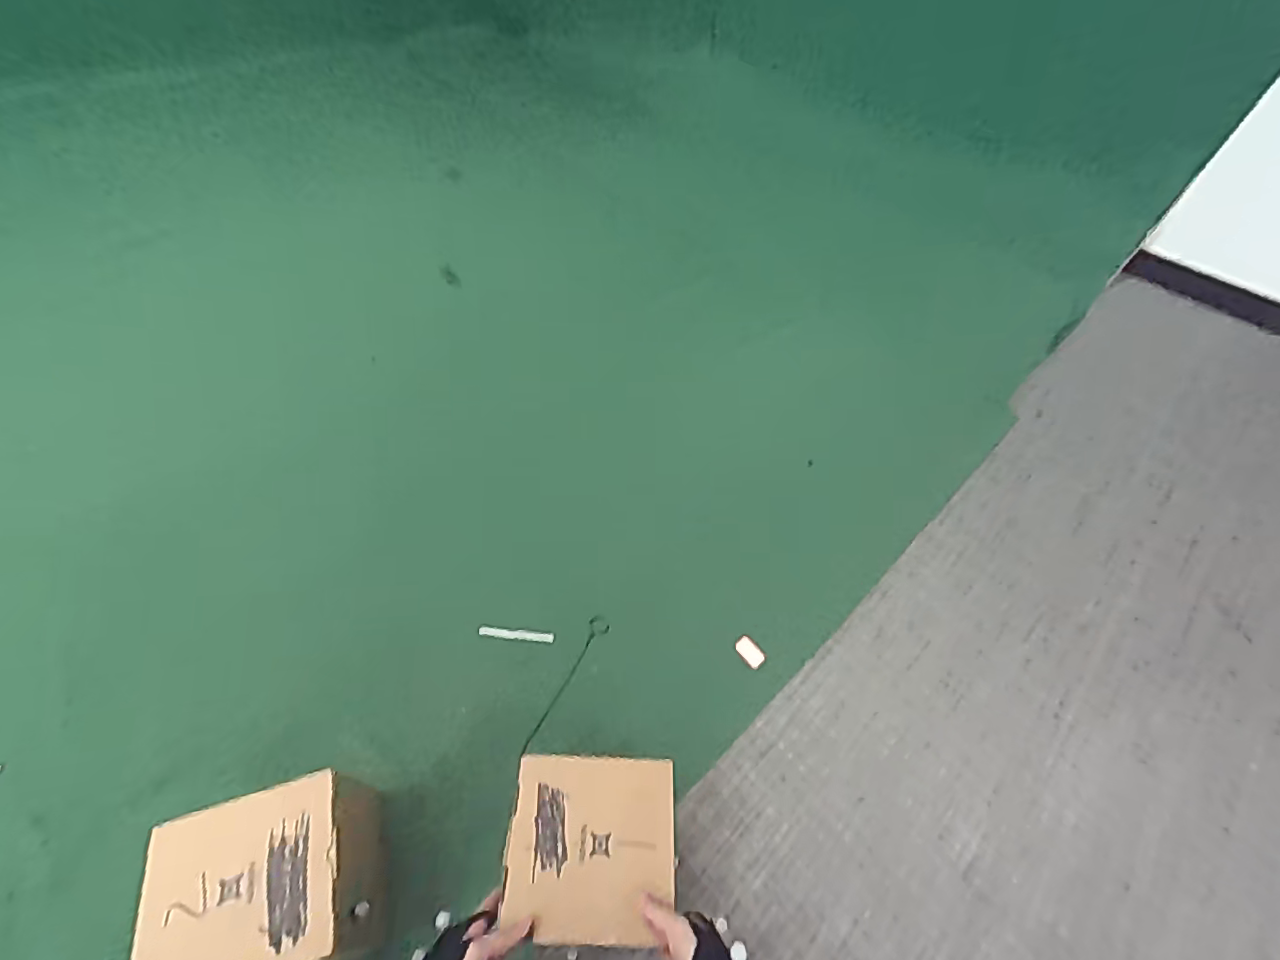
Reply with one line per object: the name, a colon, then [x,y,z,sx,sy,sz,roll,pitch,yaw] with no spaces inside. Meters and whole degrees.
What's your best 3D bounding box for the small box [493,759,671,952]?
small box: [-0.058,0.438,0.632,0.179,0.176,0.168,4,51,-2]
